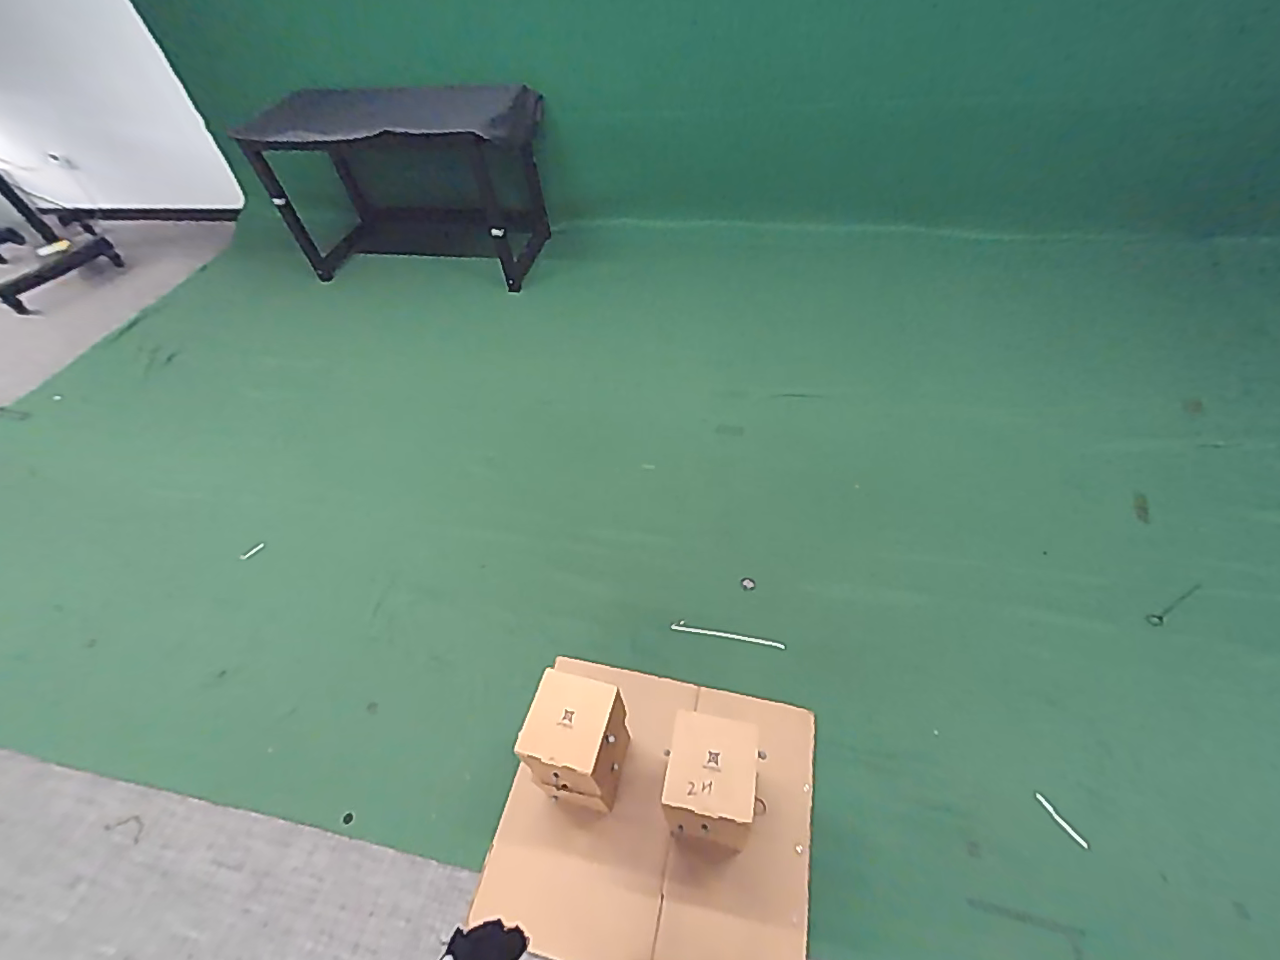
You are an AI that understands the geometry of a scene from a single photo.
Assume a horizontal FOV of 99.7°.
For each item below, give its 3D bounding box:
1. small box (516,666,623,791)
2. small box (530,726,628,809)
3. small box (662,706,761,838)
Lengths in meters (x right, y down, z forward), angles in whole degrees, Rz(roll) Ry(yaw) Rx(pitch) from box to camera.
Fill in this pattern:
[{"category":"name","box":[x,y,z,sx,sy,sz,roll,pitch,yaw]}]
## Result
[{"category":"small box","box":[-0.138,0.528,1.146,0.168,0.176,0.179,10,51,14]},{"category":"small box","box":[-0.133,0.642,1.262,0.168,0.176,0.179,8,50,14]},{"category":"small box","box":[0.142,0.579,1.071,0.168,0.176,0.179,7,50,13]}]
